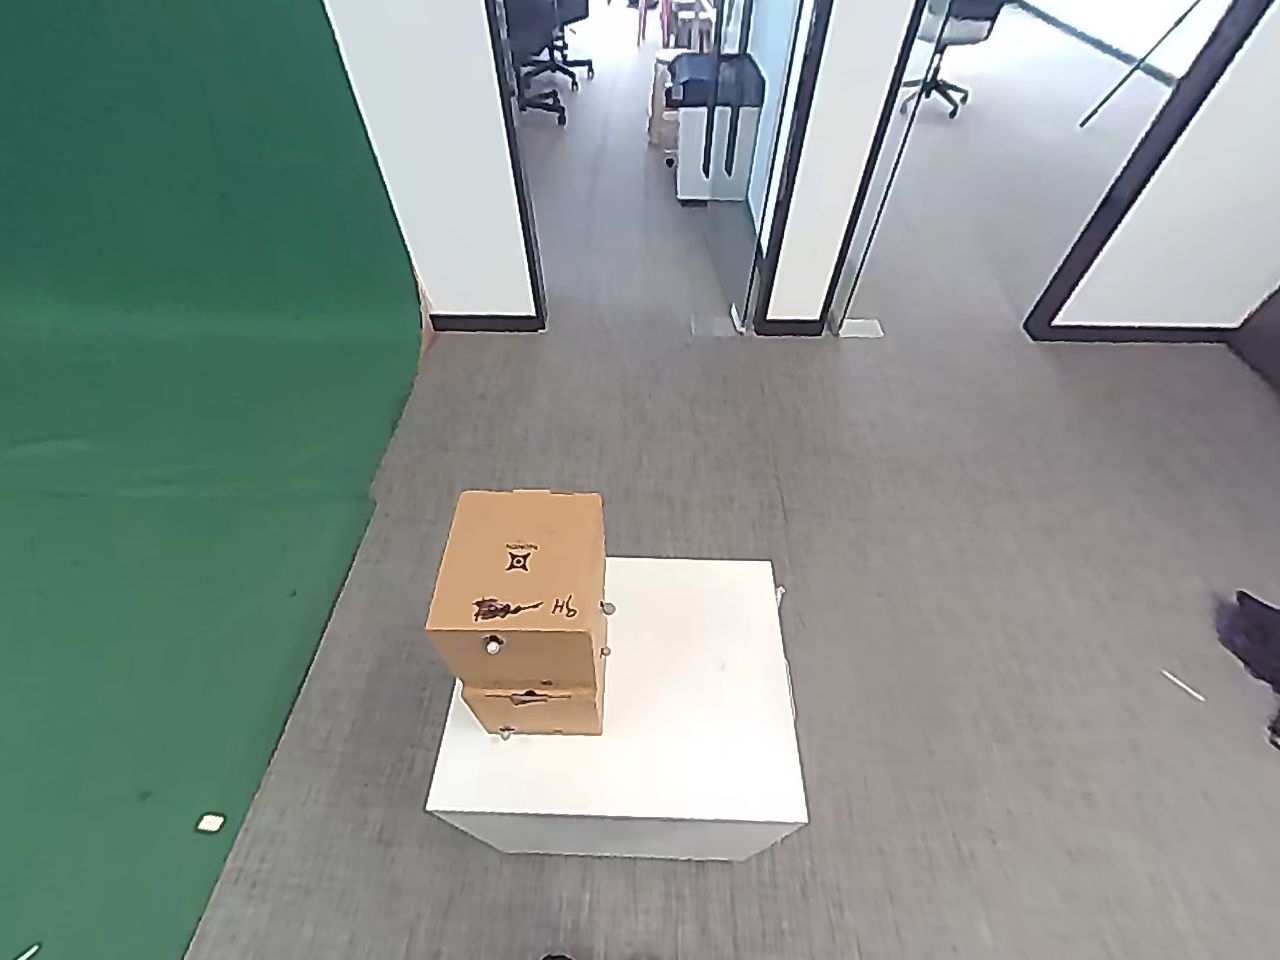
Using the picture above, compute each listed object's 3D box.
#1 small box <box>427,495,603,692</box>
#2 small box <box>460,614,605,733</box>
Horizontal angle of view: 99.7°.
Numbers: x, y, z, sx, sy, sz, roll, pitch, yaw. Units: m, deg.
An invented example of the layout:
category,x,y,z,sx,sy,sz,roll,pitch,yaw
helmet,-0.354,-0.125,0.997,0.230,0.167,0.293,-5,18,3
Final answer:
category,x,y,z,sx,sy,sz,roll,pitch,yaw
small box,-0.133,0.138,0.654,0.168,0.176,0.179,1,49,0
small box,-0.139,0.250,0.773,0.168,0.176,0.179,1,50,0
